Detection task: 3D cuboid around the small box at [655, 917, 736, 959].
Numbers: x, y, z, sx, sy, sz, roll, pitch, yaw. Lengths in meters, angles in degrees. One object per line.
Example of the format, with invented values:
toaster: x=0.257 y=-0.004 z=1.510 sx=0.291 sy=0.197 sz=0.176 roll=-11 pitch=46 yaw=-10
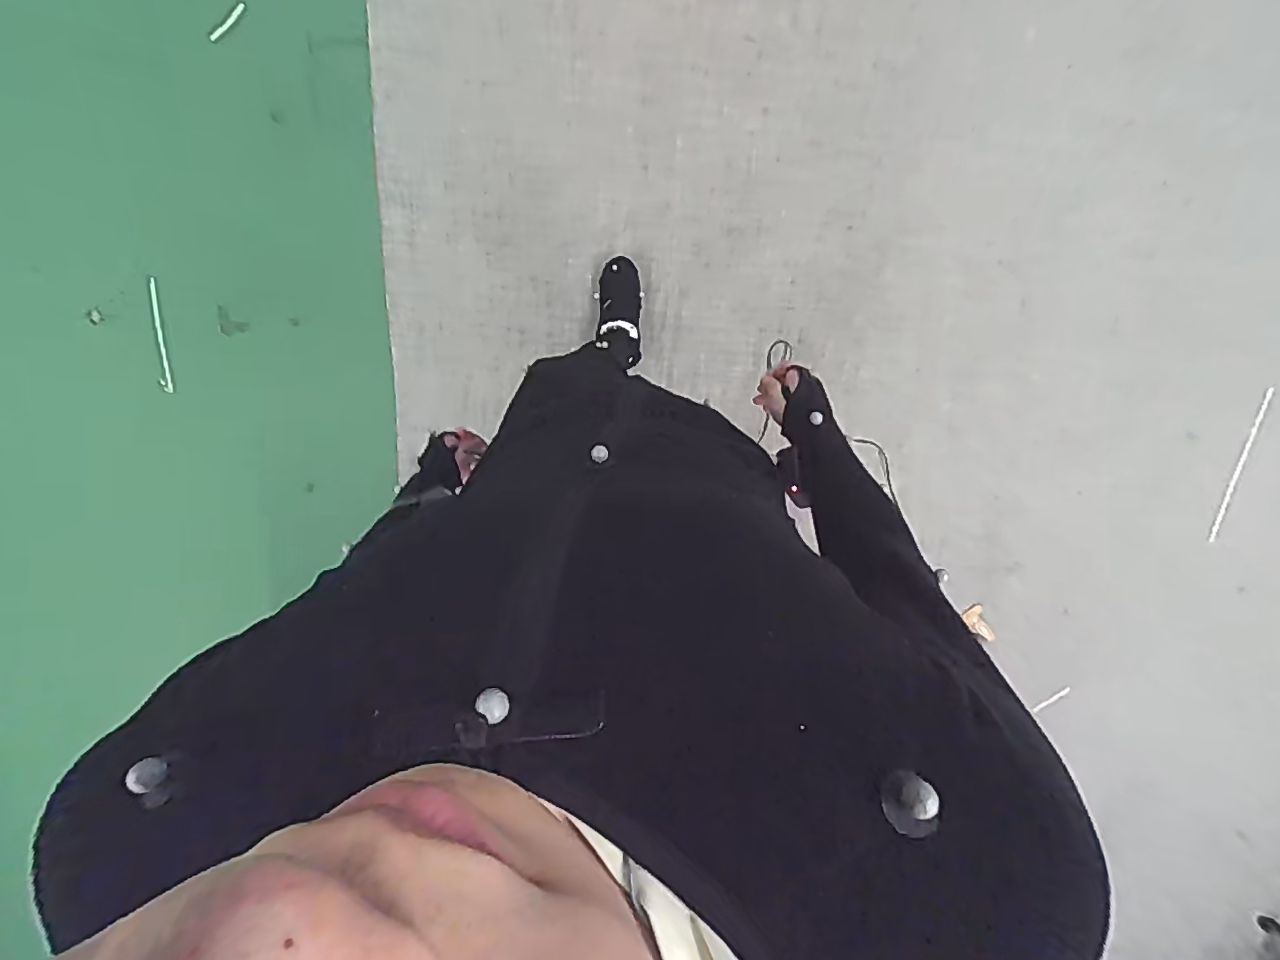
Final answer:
small box: x=0.115 y=1.068 z=1.130 sx=0.168 sy=0.176 sz=0.179 roll=3 pitch=106 yaw=1
